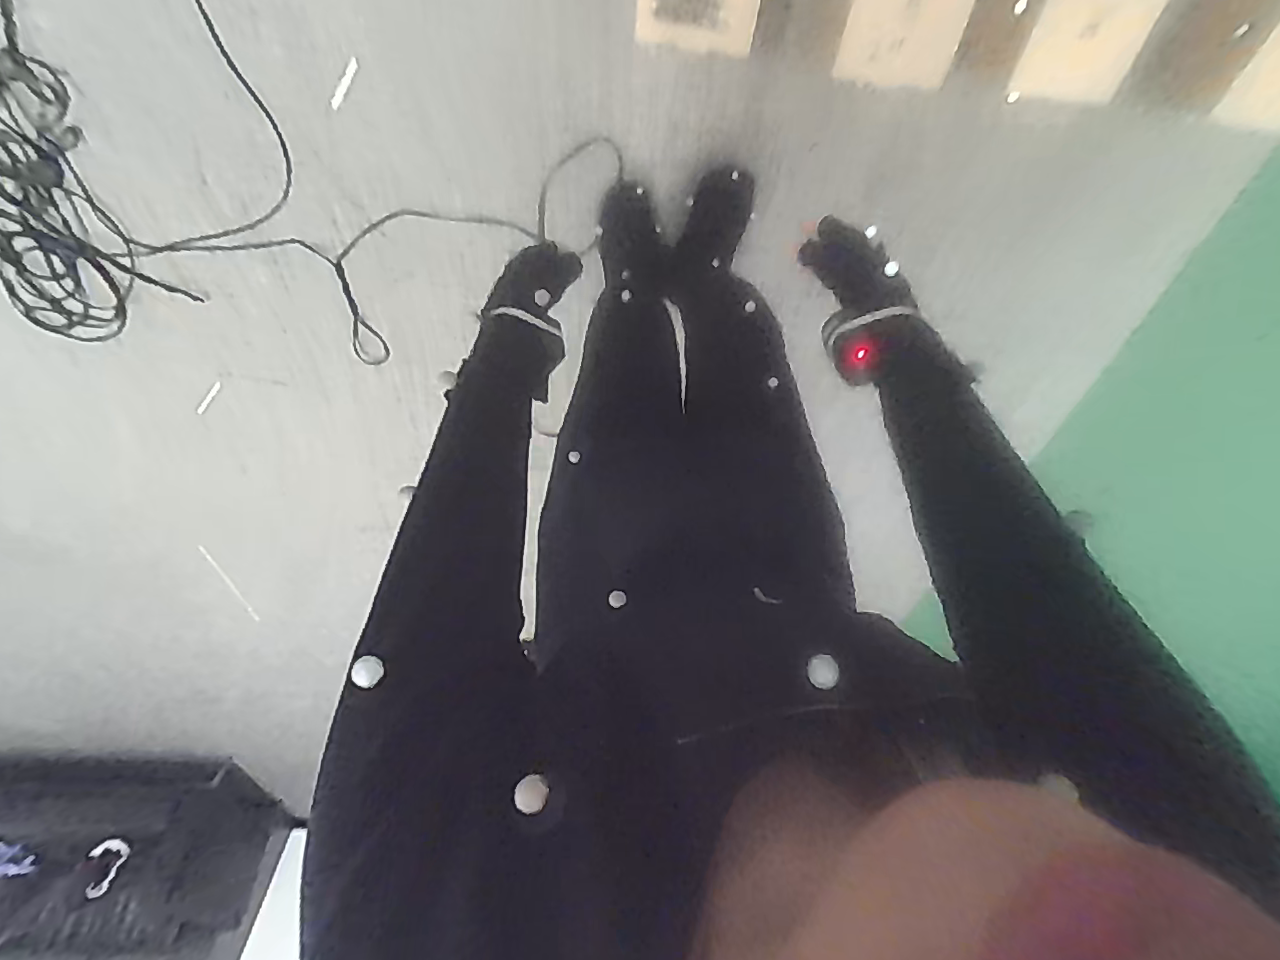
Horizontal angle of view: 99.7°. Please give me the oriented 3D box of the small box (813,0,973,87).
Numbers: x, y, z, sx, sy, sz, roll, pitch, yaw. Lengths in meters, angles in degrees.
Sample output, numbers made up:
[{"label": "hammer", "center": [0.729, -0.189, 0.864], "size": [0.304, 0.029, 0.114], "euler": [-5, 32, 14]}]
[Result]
[{"label": "small box", "center": [0.367, -0.700, 0.787], "size": [0.168, 0.176, 0.179], "euler": [5, 133, -2]}]

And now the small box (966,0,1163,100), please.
[{"label": "small box", "center": [0.622, -0.688, 0.800], "size": [0.168, 0.176, 0.179], "euler": [3, 133, -3]}]
